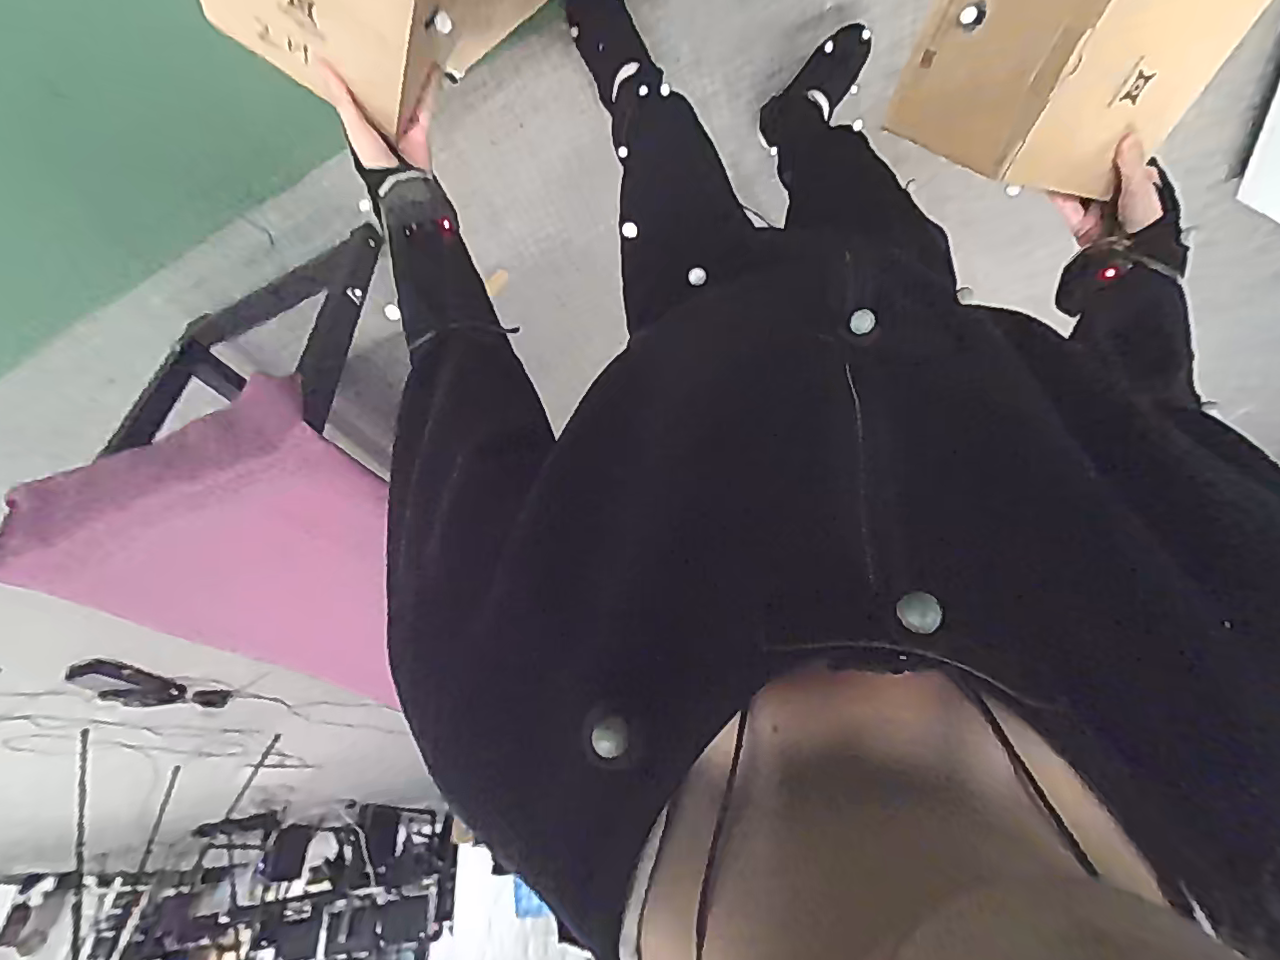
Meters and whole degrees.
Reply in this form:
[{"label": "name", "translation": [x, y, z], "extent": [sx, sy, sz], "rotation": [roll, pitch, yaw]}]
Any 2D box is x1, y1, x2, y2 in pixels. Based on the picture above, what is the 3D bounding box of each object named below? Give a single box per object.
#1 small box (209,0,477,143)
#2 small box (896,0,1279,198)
[{"label": "small box", "translation": [-0.232, -0.443, 0.444], "extent": [0.168, 0.176, 0.179], "rotation": [28, 164, -24]}, {"label": "small box", "translation": [0.379, -0.378, 0.484], "extent": [0.179, 0.176, 0.168], "rotation": [-5, 137, -22]}]
